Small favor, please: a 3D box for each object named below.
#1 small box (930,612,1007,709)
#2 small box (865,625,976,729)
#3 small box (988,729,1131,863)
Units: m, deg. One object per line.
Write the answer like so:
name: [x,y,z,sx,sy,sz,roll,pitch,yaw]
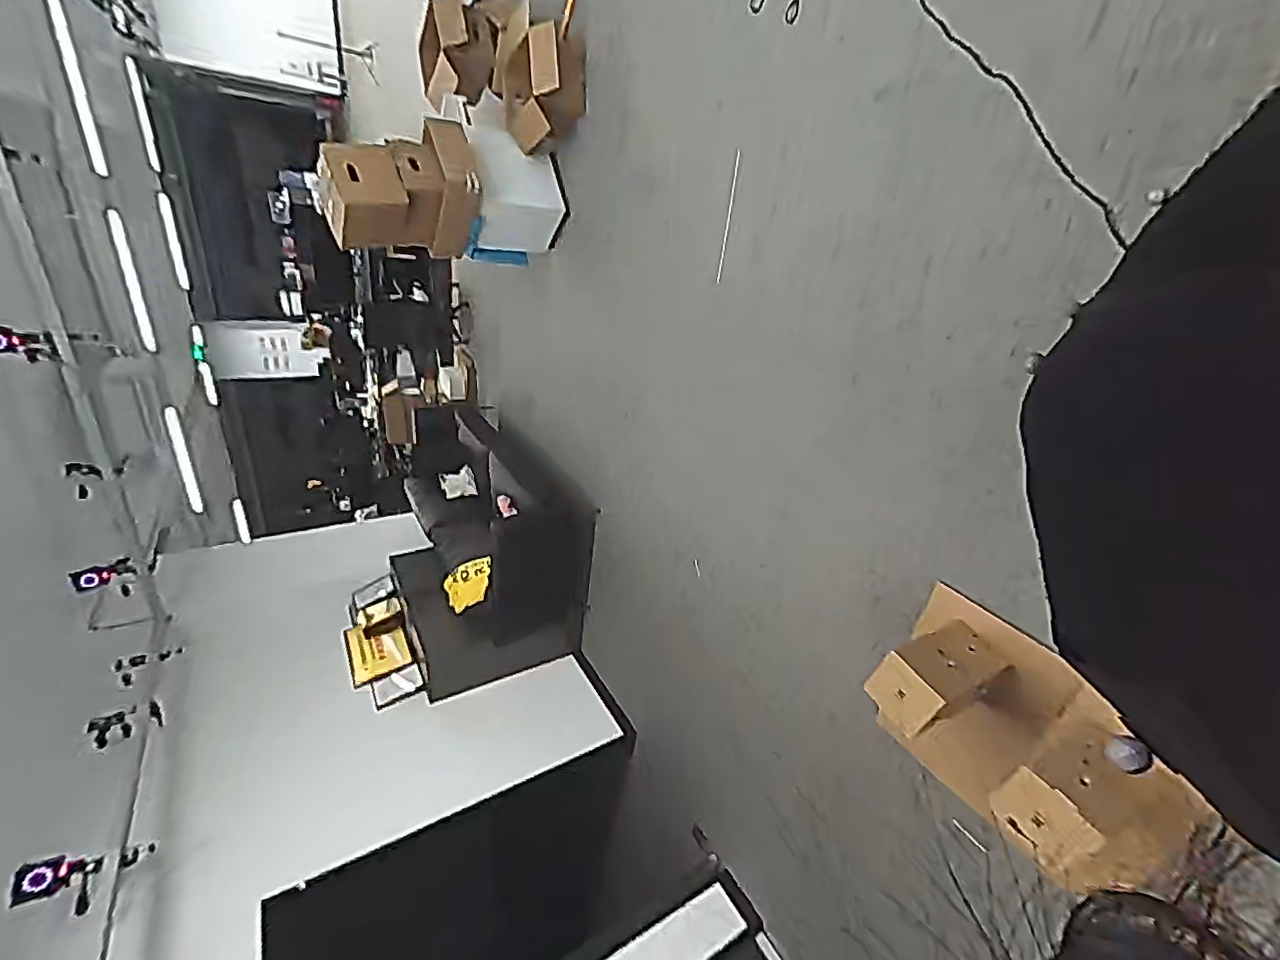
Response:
small box: [0.887,0.500,1.522,0.168,0.176,0.179,48,137,42]
small box: [0.747,0.519,1.440,0.168,0.176,0.179,50,138,40]
small box: [0.929,0.688,1.195,0.168,0.176,0.179,49,137,42]
